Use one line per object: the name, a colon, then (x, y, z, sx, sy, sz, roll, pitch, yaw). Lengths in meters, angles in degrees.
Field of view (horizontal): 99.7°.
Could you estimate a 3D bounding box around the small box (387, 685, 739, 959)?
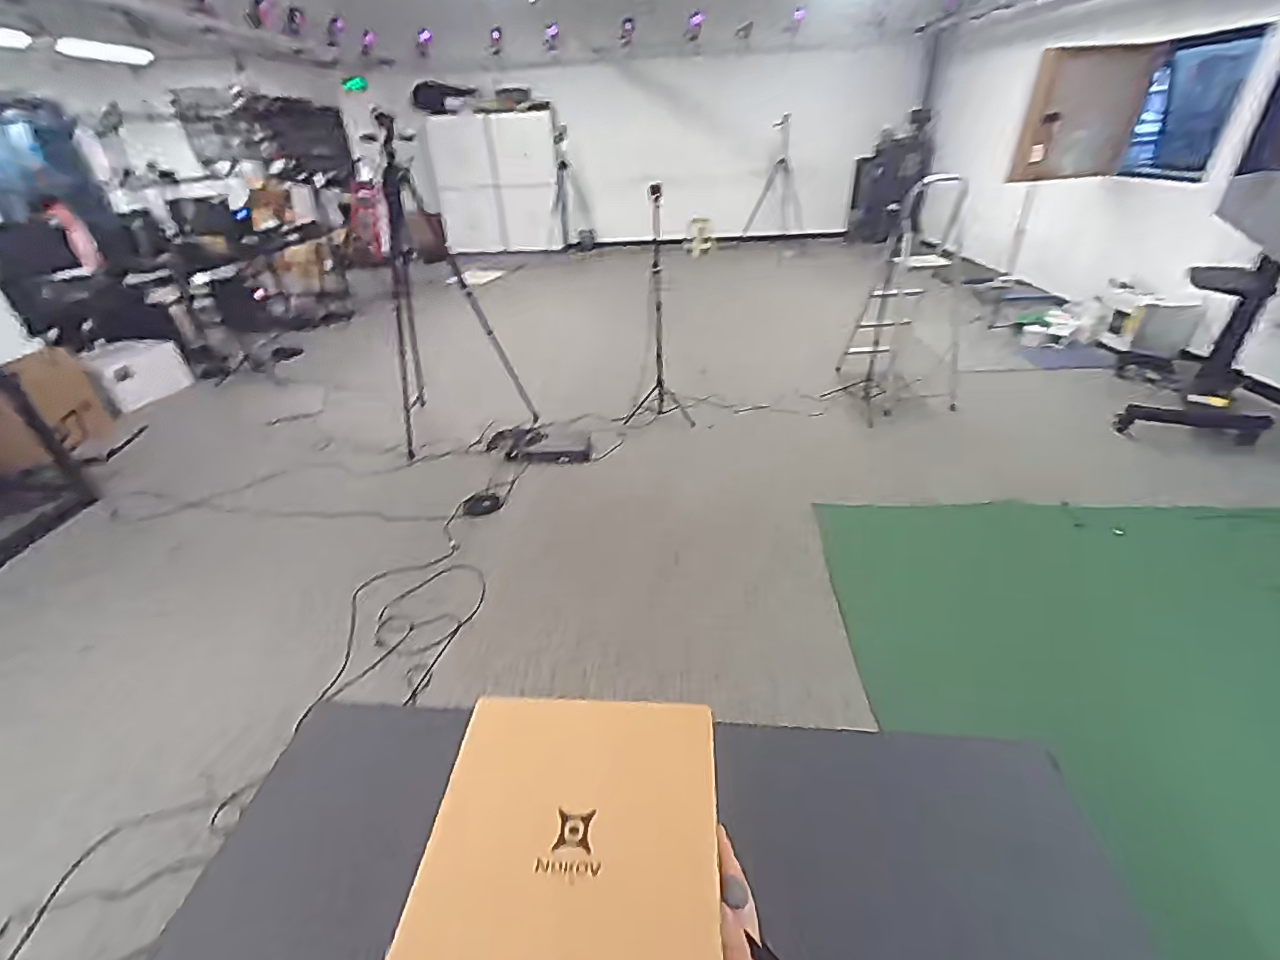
small box: (-0.030, 0.257, 0.342, 0.168, 0.176, 0.179, 0, 35, 4)
